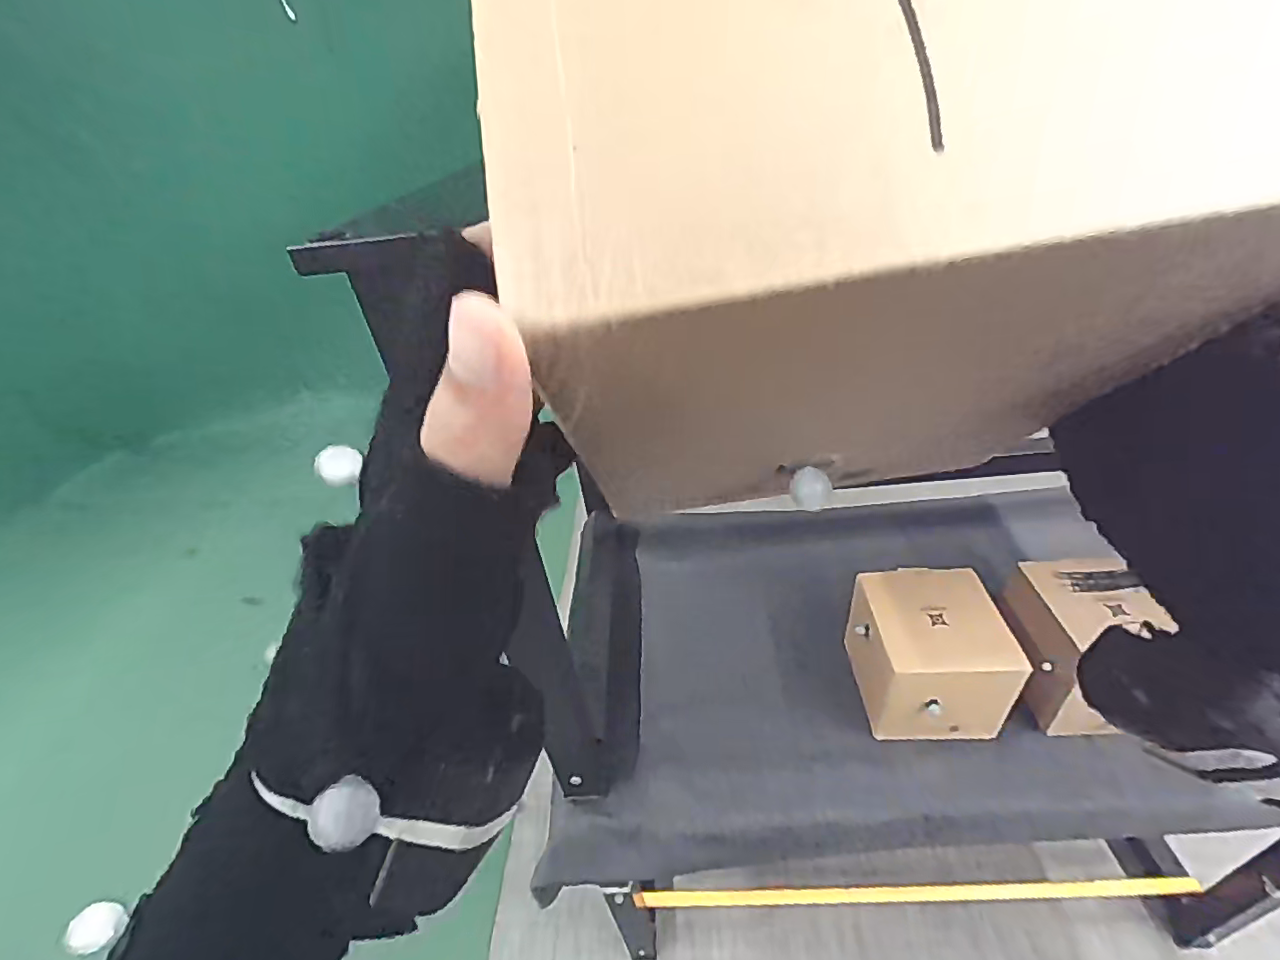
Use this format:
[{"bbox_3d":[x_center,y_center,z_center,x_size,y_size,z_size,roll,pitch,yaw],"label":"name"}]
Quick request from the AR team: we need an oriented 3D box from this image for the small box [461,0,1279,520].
[{"bbox_3d":[0.048,-0.094,0.193,0.168,0.176,0.179,-9,76,3],"label":"small box"}]

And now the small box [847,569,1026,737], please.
[{"bbox_3d":[0.410,0.252,0.784,0.168,0.176,0.179,-4,36,7],"label":"small box"}]
